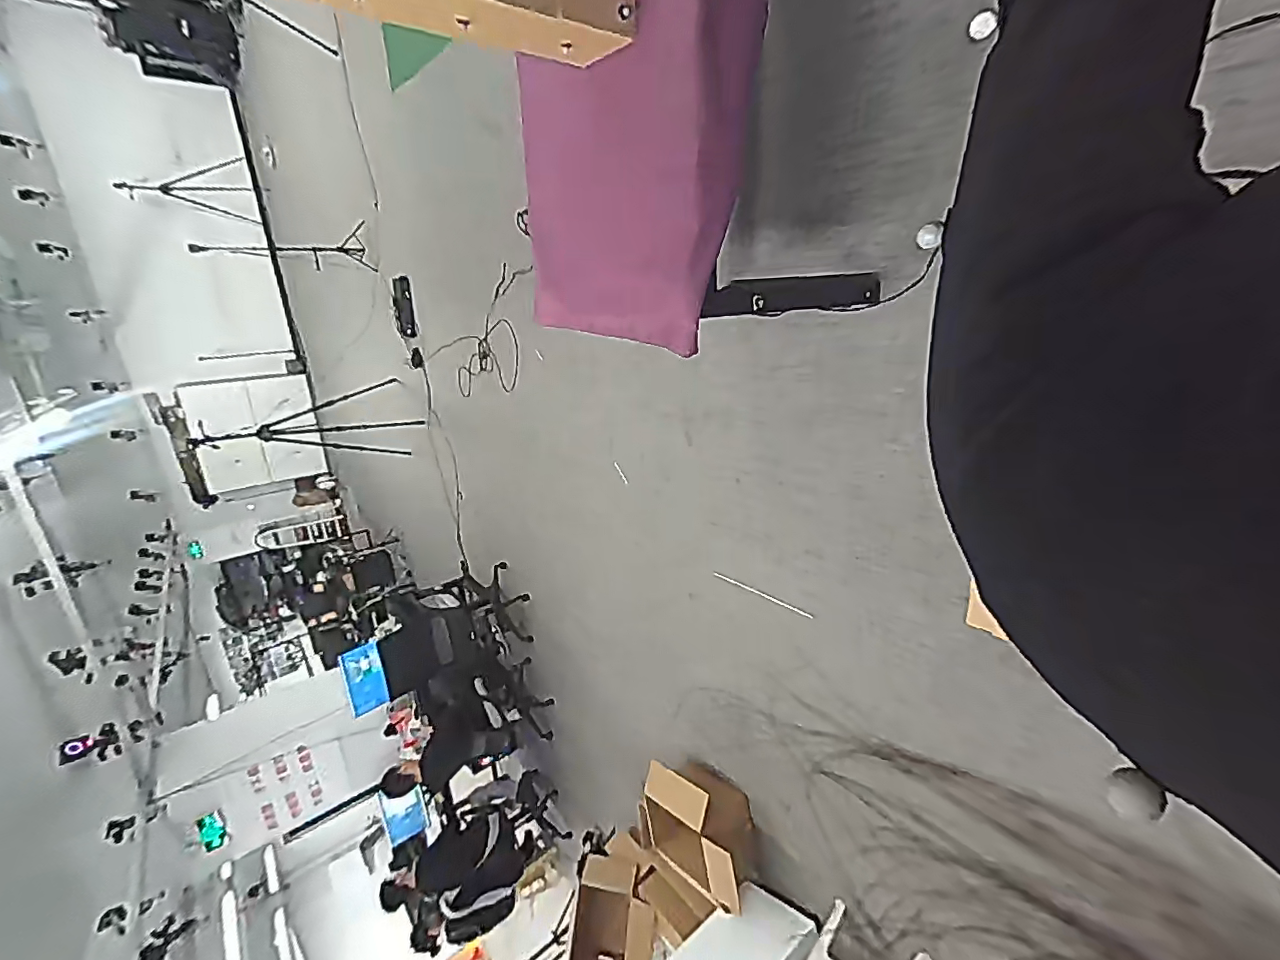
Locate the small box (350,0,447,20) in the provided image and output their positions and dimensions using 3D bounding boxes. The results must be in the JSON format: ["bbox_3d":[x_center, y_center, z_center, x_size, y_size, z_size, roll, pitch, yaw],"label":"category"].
[{"bbox_3d":[-0.379,-0.822,0.796,0.179,0.176,0.168,22,121,47],"label":"small box"}]

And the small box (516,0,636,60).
[{"bbox_3d":[-0.118,-0.896,0.979,0.179,0.176,0.168,23,121,47],"label":"small box"}]

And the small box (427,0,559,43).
[{"bbox_3d":[-0.250,-0.858,0.889,0.179,0.176,0.168,22,121,47],"label":"small box"}]
